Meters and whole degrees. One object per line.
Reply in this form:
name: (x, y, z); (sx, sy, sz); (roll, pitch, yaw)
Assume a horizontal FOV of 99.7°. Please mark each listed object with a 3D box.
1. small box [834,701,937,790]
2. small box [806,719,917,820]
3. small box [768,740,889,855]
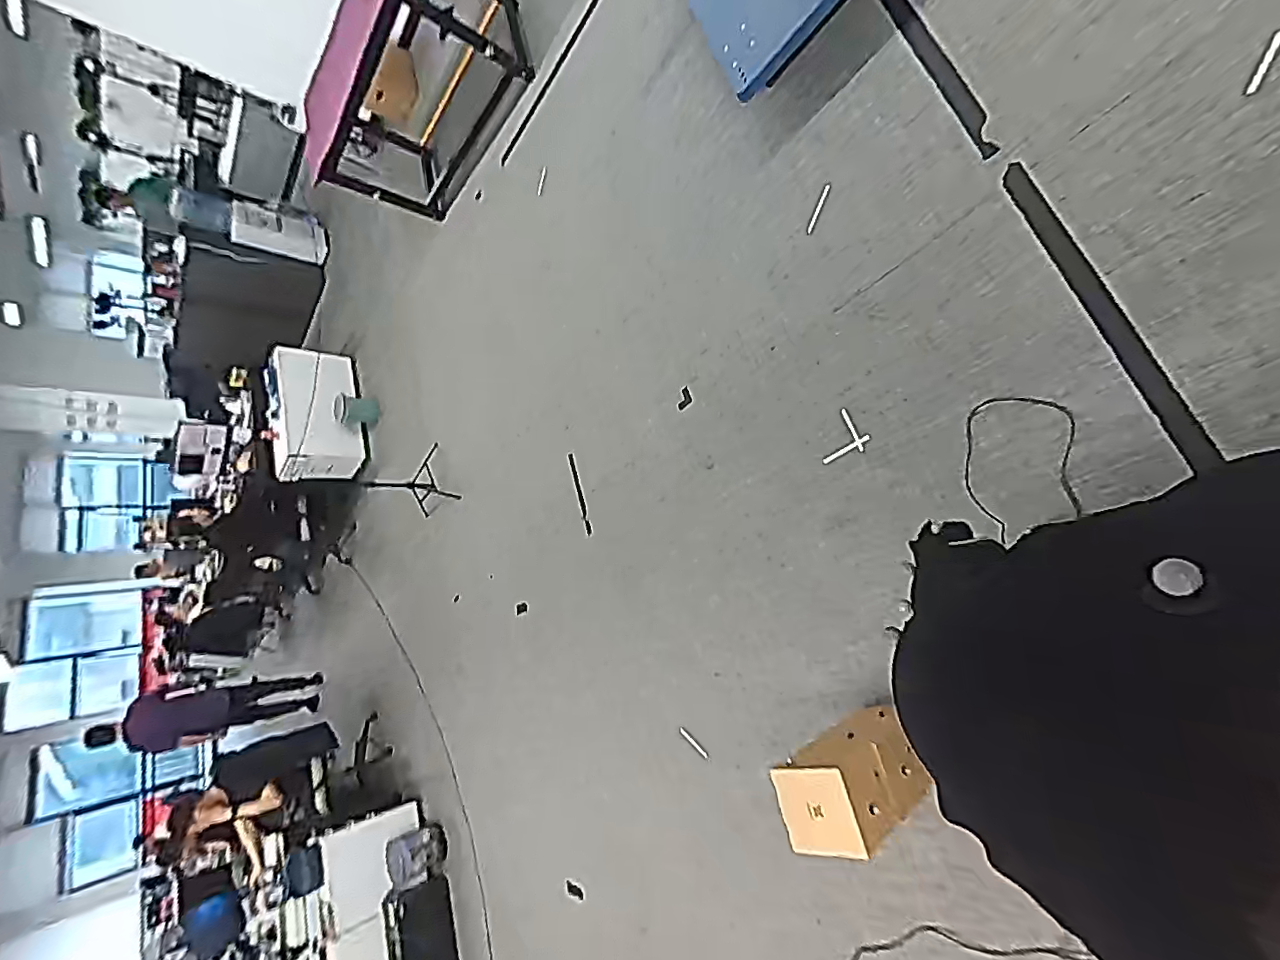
small box: (0.647, 0.689, 1.411); (0.179, 0.176, 0.168); (-29, 69, 41)
small box: (0.534, 0.681, 1.290); (0.179, 0.176, 0.168); (-27, 70, 43)
small box: (0.416, 0.681, 1.177); (0.179, 0.176, 0.168); (-30, 69, 42)
